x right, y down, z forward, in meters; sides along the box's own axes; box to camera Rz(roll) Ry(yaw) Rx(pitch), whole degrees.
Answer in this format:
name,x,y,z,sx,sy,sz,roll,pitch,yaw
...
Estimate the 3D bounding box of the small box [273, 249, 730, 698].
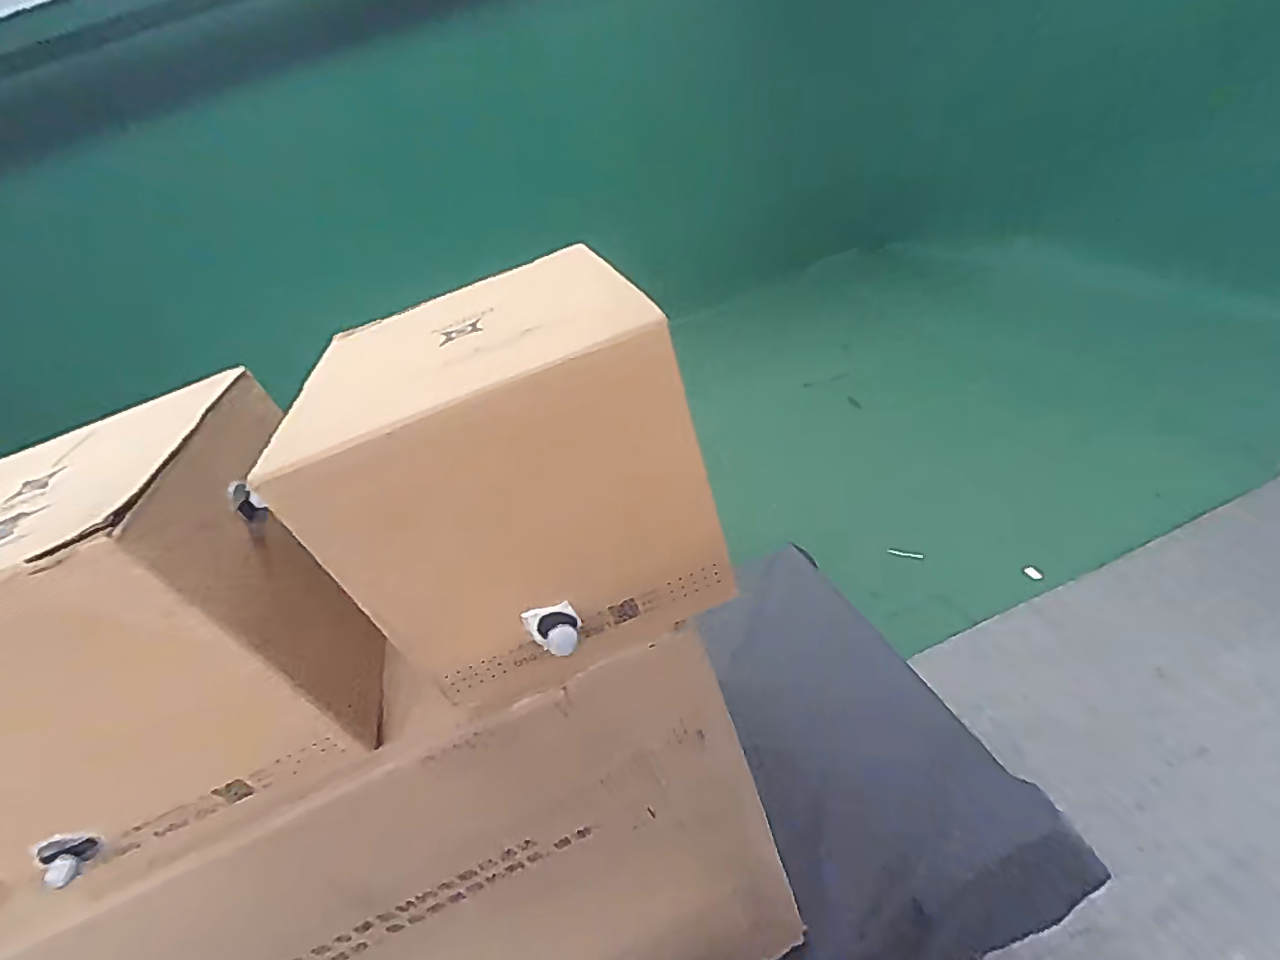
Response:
name,x,y,z,sx,sy,sz,roll,pitch,yaw
small box,-0.064,-0.012,0.321,0.168,0.176,0.179,-23,37,-4
